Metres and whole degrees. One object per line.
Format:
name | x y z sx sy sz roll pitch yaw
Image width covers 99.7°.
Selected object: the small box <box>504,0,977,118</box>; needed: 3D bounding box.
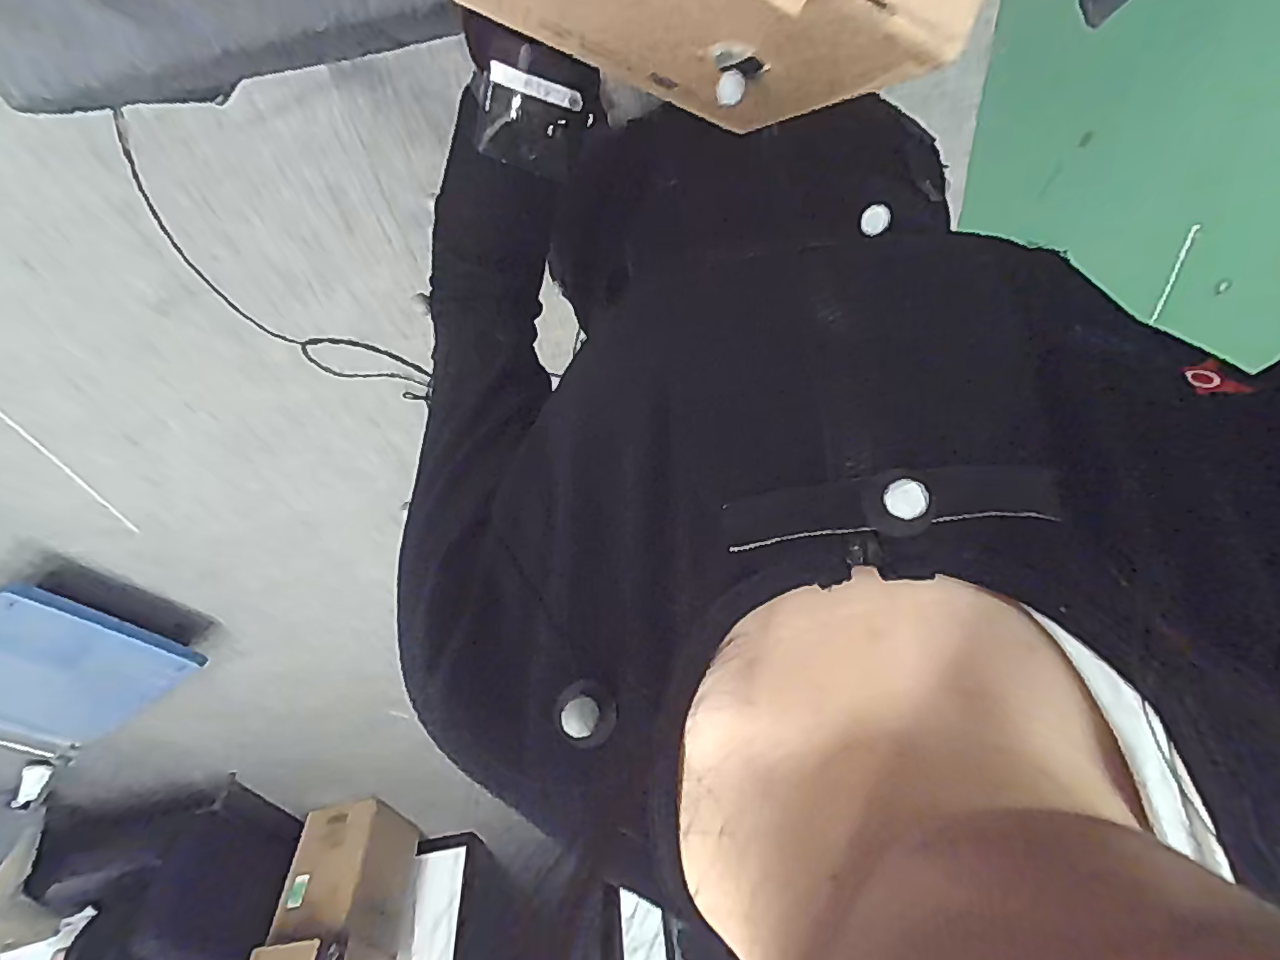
small box | 0.031 -0.256 0.183 0.168 0.176 0.179 11 111 -23
